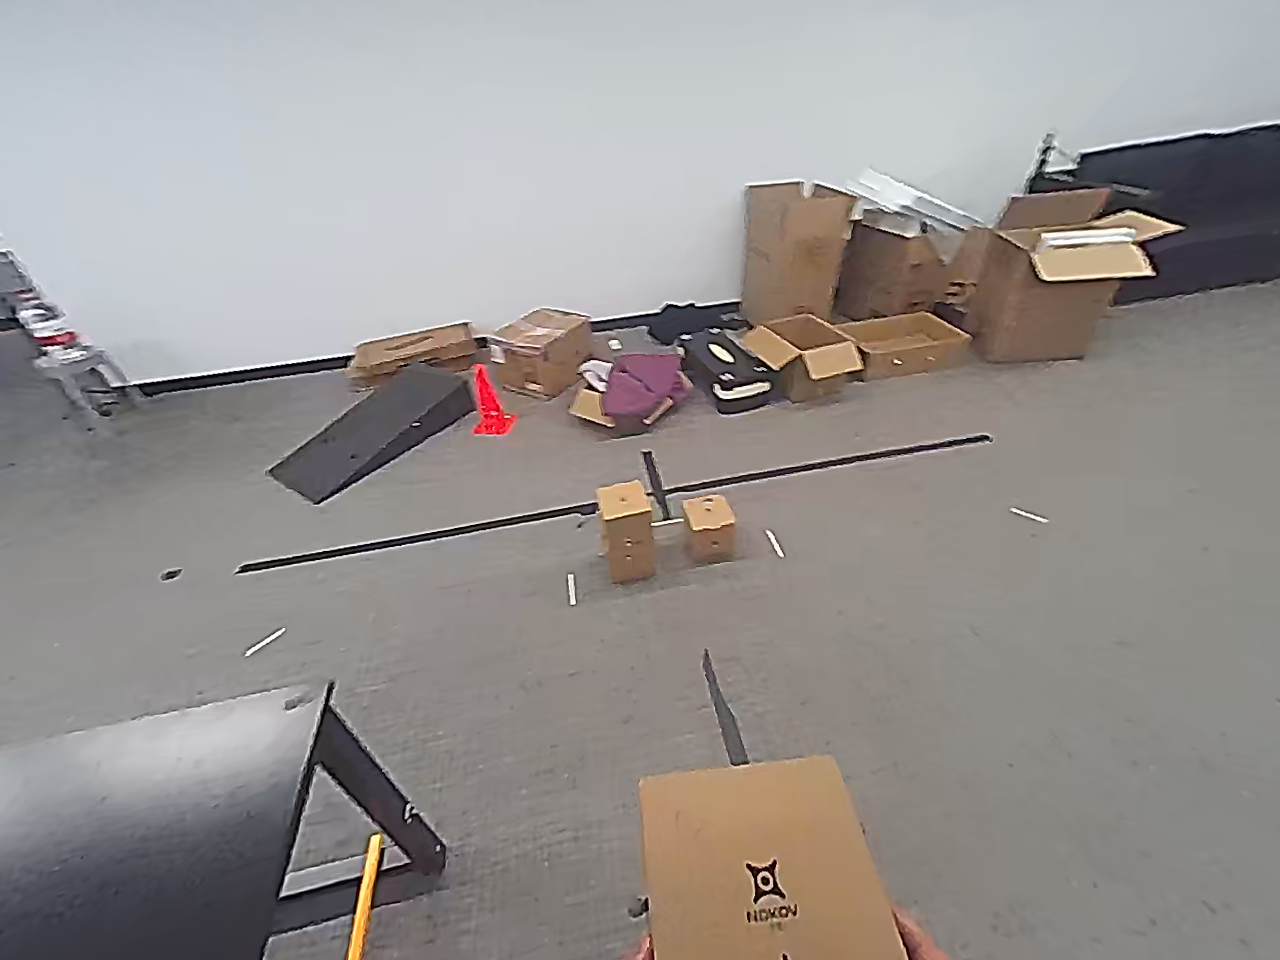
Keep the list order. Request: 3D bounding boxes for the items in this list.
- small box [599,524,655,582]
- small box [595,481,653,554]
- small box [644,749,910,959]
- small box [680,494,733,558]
[{"bbox_3d":[-0.049,0.260,2.026,0.179,0.176,0.168,-11,38,-7],"label":"small box"},{"bbox_3d":[-0.058,0.134,1.925,0.168,0.176,0.179,-14,40,-8],"label":"small box"},{"bbox_3d":[0.091,0.347,0.435,0.168,0.176,0.179,-5,42,-3],"label":"small box"},{"bbox_3d":[0.257,0.185,2.087,0.168,0.176,0.179,-10,39,-5],"label":"small box"}]
